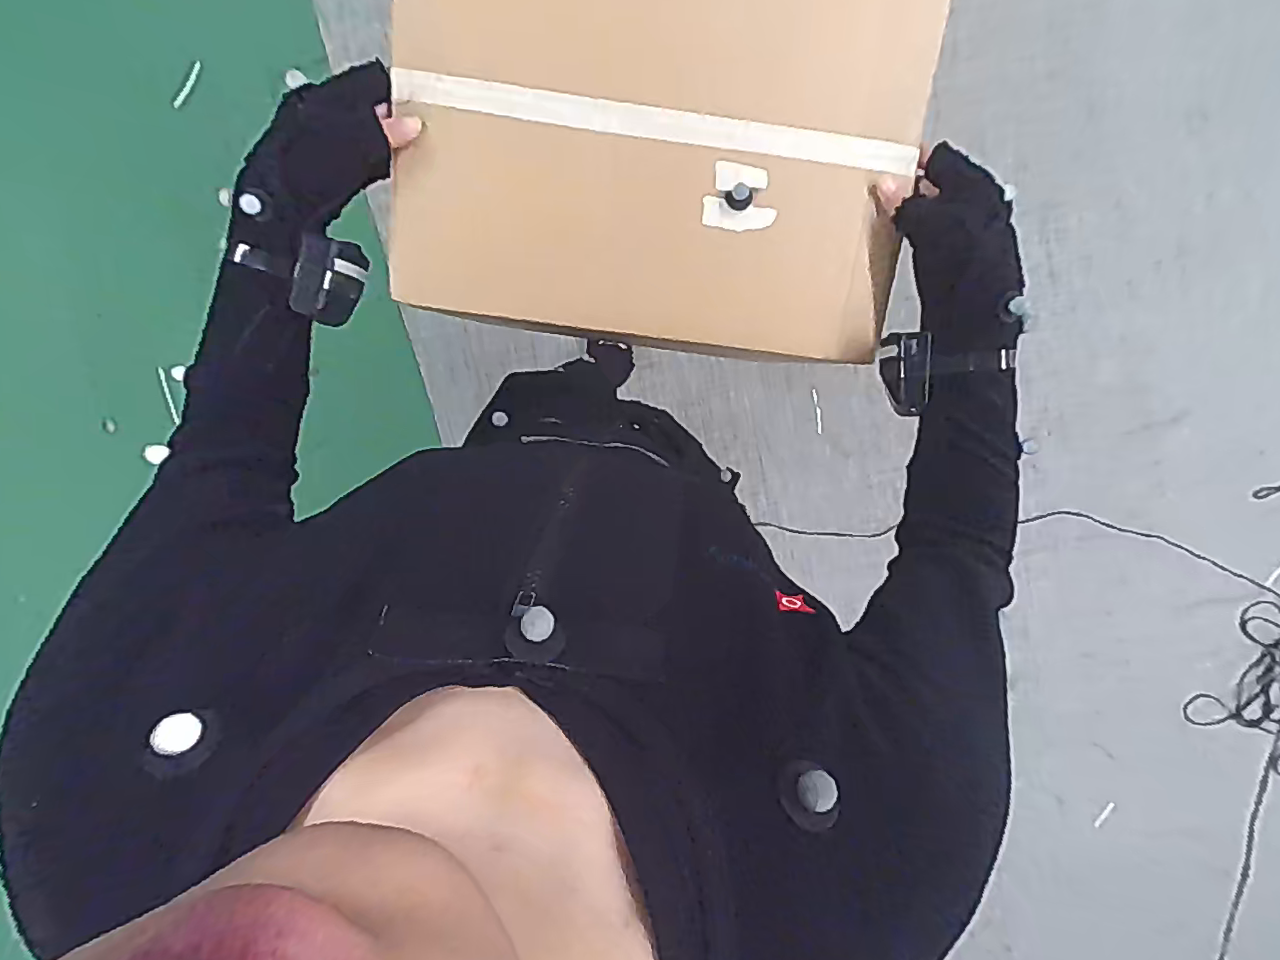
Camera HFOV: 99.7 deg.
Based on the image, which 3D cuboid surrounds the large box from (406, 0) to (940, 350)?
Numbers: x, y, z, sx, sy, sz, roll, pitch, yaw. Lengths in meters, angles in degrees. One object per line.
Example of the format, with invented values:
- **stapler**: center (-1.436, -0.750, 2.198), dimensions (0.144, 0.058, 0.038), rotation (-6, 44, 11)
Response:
- **large box**: center (0.012, -0.316, 0.567), dimensions (0.408, 0.320, 0.320), rotation (6, 103, -5)
